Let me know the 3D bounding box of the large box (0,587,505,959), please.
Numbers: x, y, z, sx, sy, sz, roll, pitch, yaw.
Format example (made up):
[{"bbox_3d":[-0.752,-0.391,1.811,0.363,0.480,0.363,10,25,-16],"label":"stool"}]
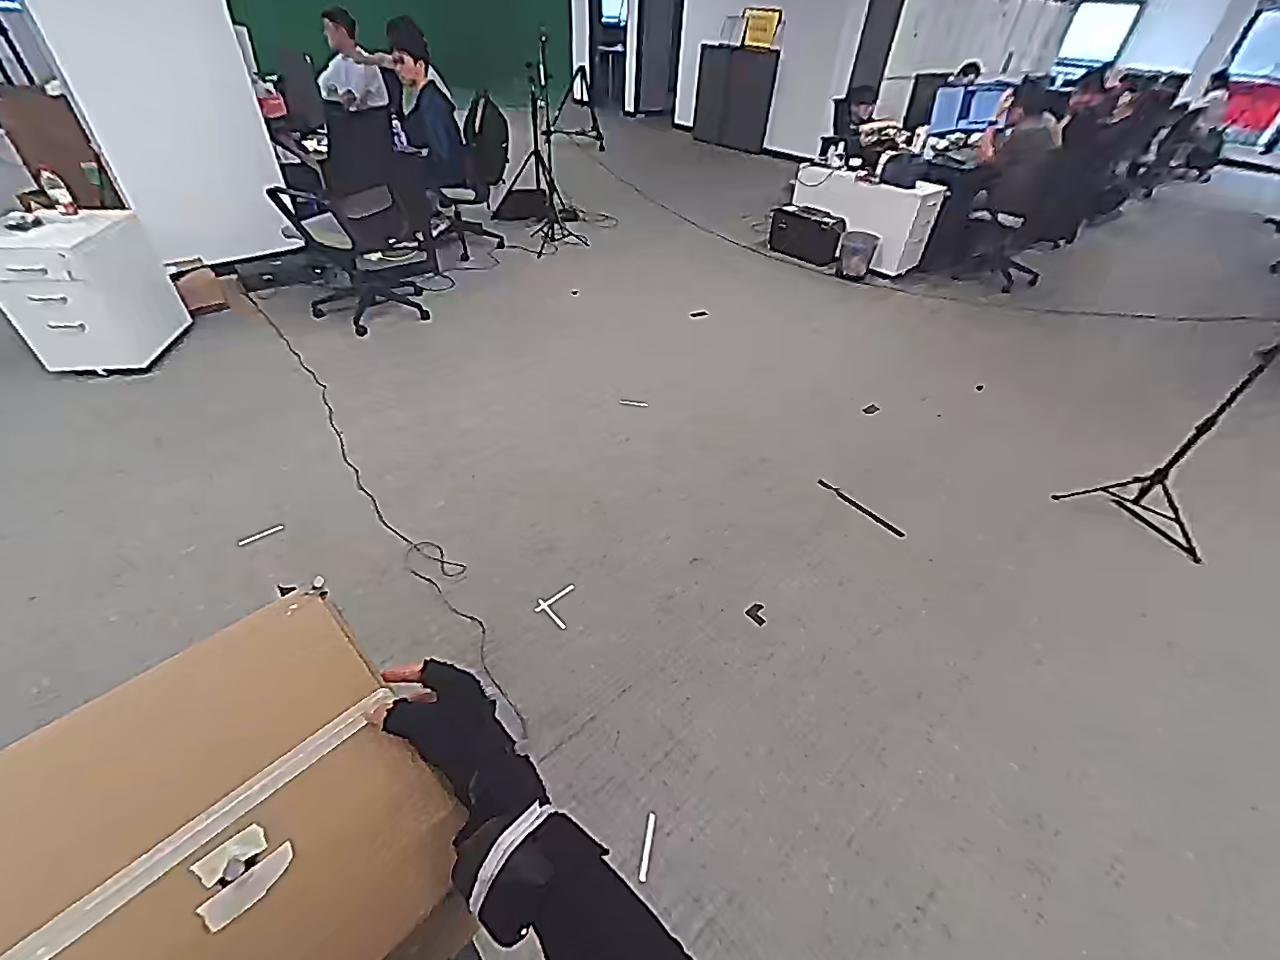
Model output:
[{"bbox_3d":[-0.381,0.388,0.495,0.408,0.320,0.320,-33,62,-34],"label":"large box"}]
